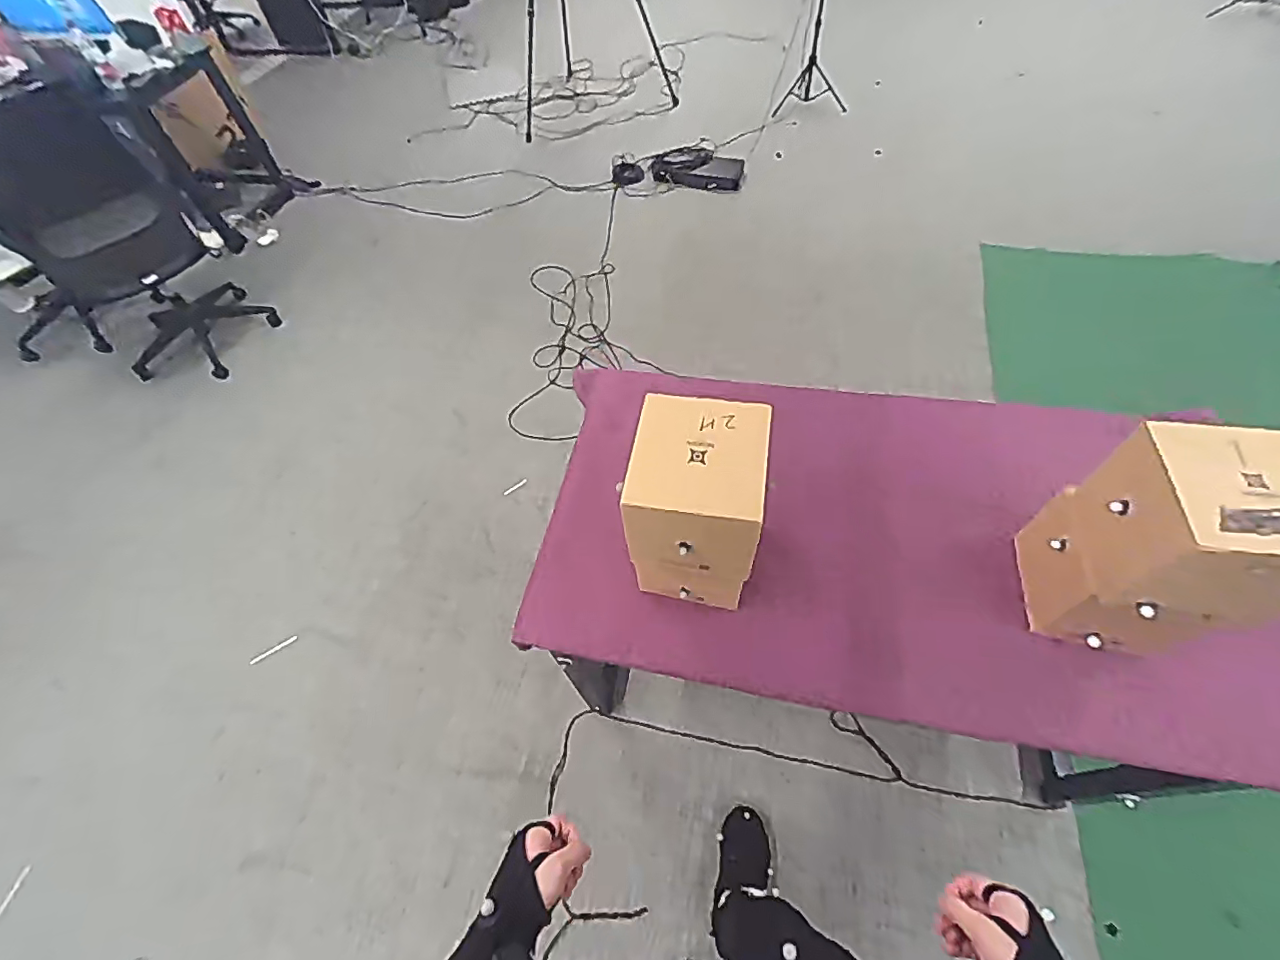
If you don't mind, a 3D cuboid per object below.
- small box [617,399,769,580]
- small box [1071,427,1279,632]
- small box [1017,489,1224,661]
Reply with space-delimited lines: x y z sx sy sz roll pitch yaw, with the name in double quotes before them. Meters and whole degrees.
"small box" 0.075 0.017 0.726 0.168 0.176 0.179 7 58 10
"small box" 0.662 0.062 0.642 0.168 0.176 0.179 7 55 11
"small box" 0.682 0.140 0.787 0.168 0.176 0.179 9 57 13
